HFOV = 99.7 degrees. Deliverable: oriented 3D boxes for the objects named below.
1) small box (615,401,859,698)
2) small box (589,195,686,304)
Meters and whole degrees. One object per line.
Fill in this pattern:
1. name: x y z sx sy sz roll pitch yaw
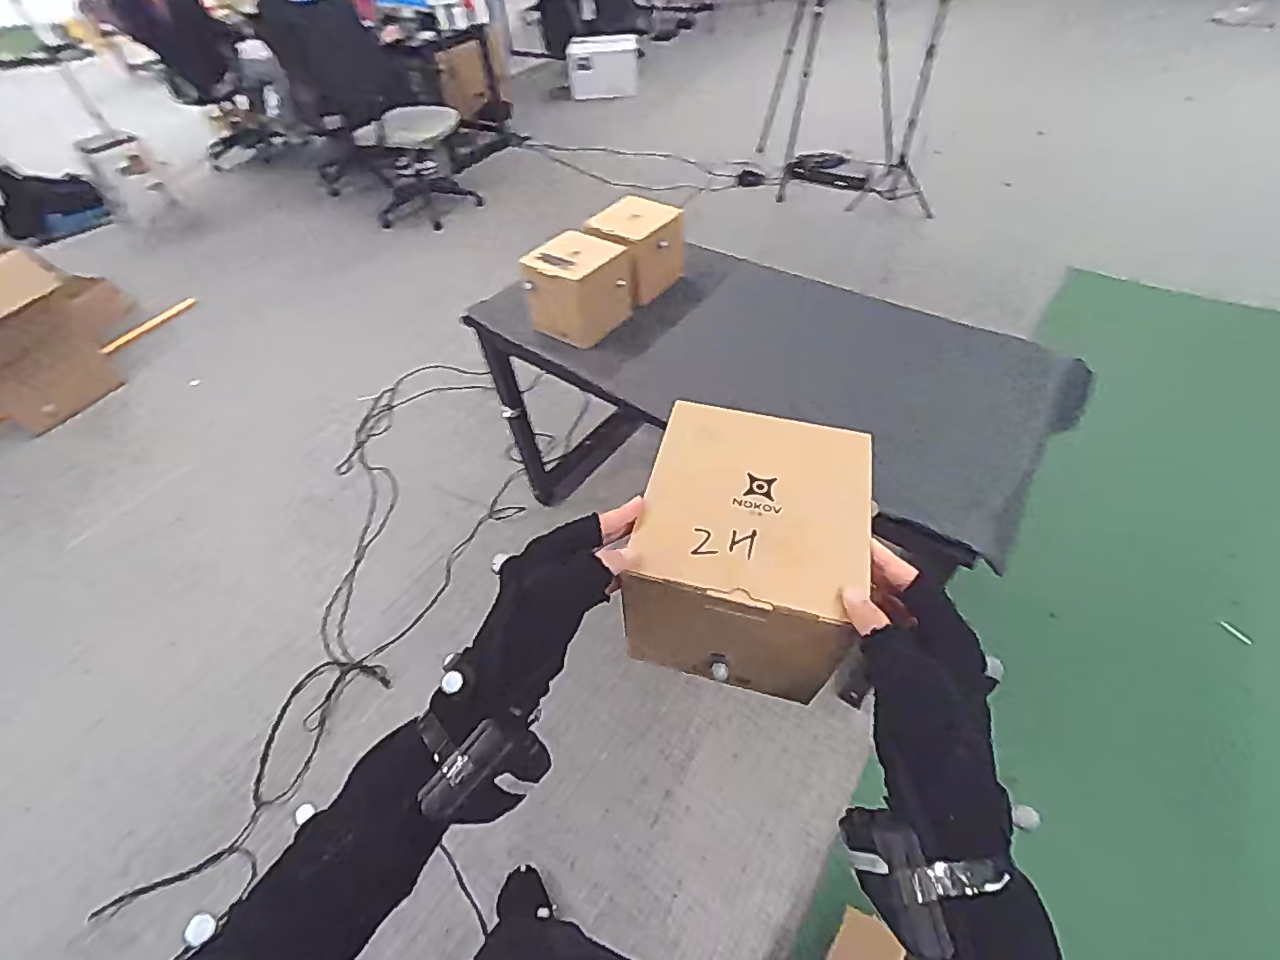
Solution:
1. small box: 0.081 0.062 0.471 0.168 0.176 0.179 11 53 10
2. small box: -0.003 -0.563 1.324 0.168 0.176 0.179 30 59 26
